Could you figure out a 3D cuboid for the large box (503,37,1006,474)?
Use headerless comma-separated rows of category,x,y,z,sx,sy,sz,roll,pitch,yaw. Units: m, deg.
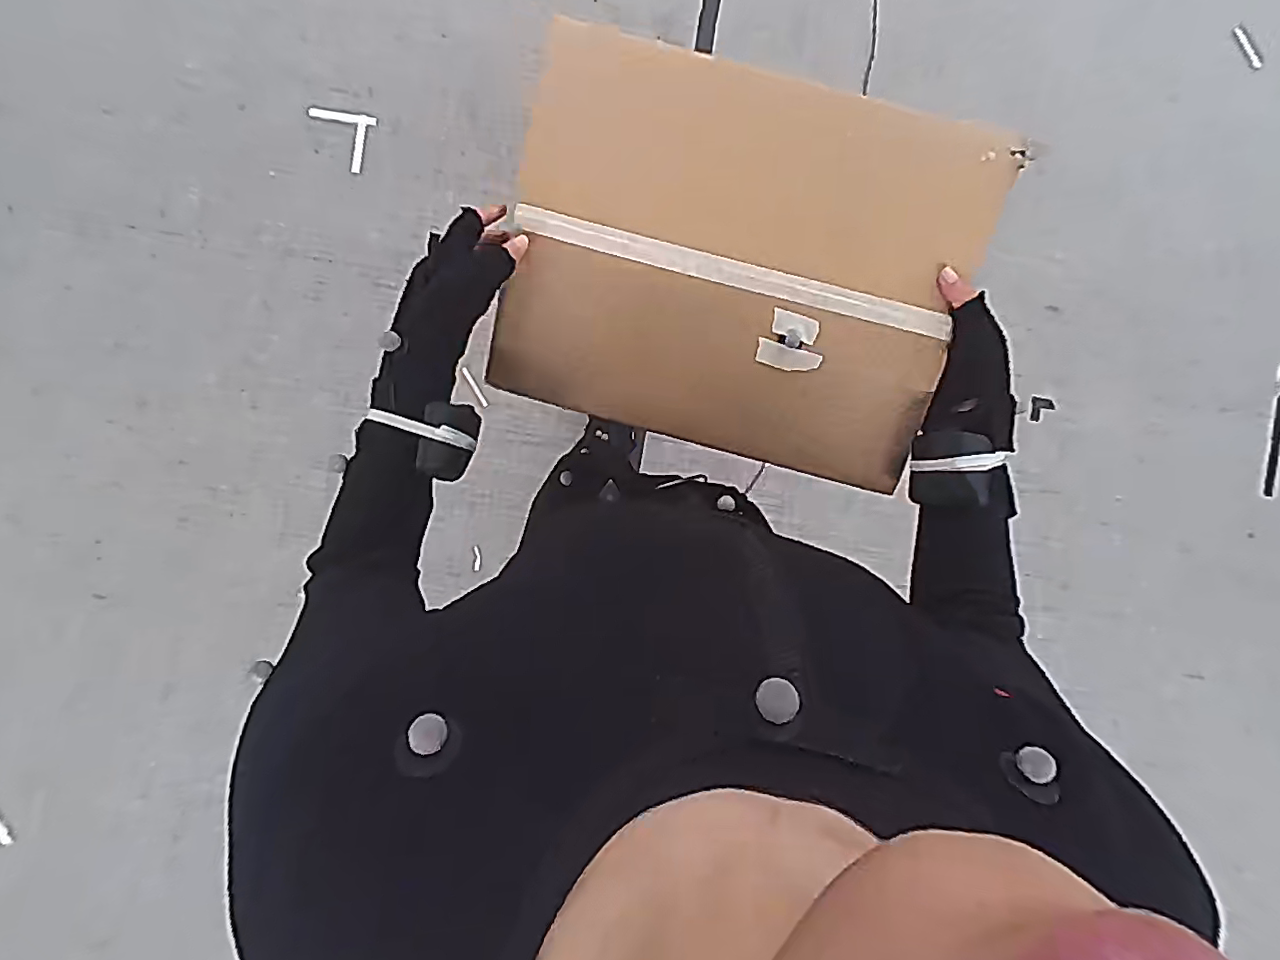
large box,0.098,-0.231,0.647,0.408,0.320,0.320,16,105,1
